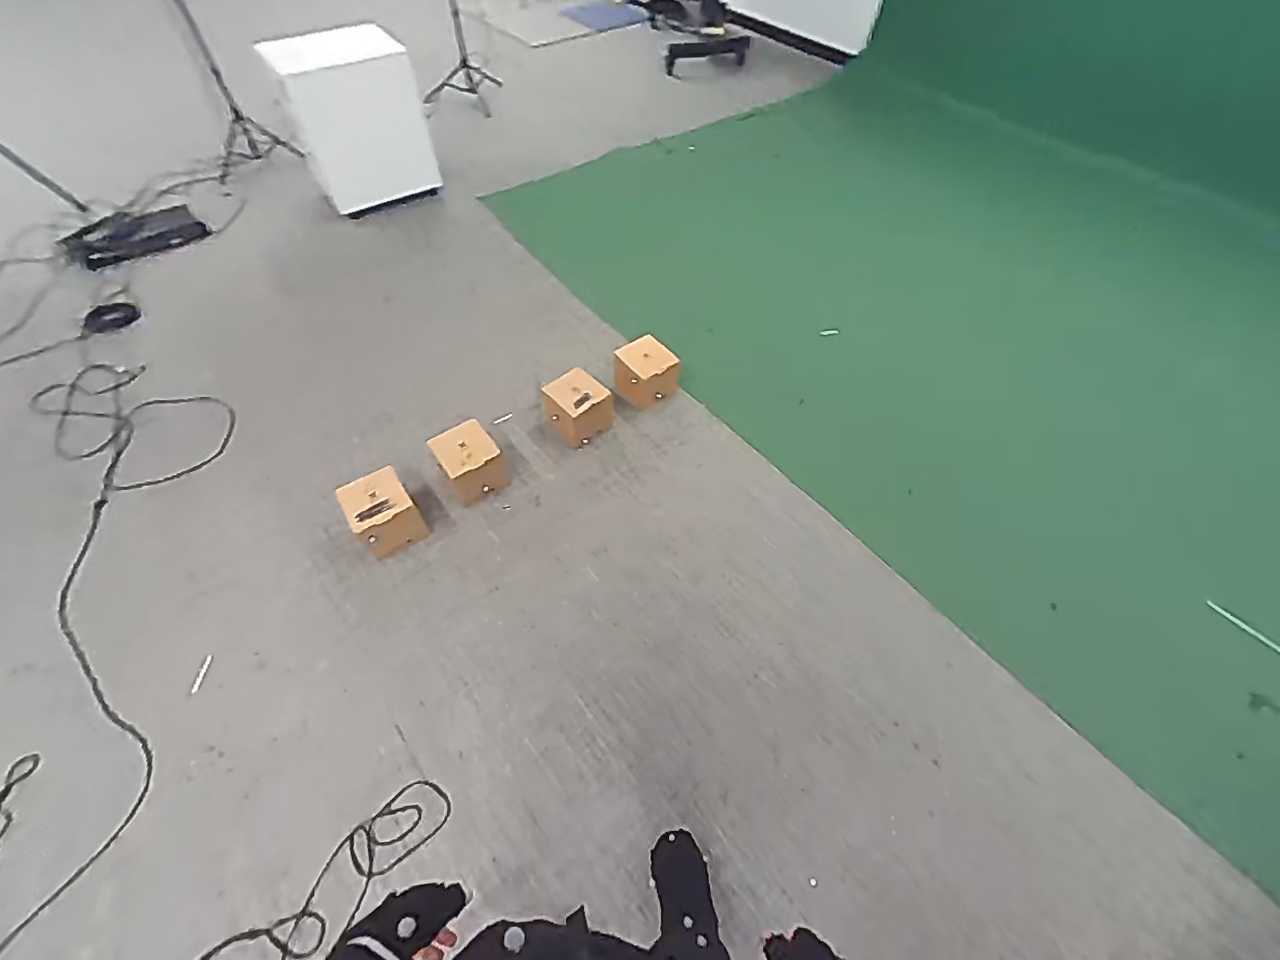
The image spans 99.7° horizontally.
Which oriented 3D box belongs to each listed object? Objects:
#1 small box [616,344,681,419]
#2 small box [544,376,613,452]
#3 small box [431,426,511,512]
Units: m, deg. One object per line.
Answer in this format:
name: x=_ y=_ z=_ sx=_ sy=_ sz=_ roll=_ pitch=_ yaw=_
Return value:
small box: x=0.027 y=-0.355 z=1.967 sx=0.168 sy=0.176 sz=0.179 roll=-32 pitch=61 yaw=-23
small box: x=-0.206 y=-0.218 z=1.854 sx=0.168 sy=0.176 sz=0.179 roll=-36 pitch=62 yaw=-25
small box: x=-0.527 y=-0.031 z=1.700 sx=0.168 sy=0.176 sz=0.179 roll=-31 pitch=62 yaw=-21
